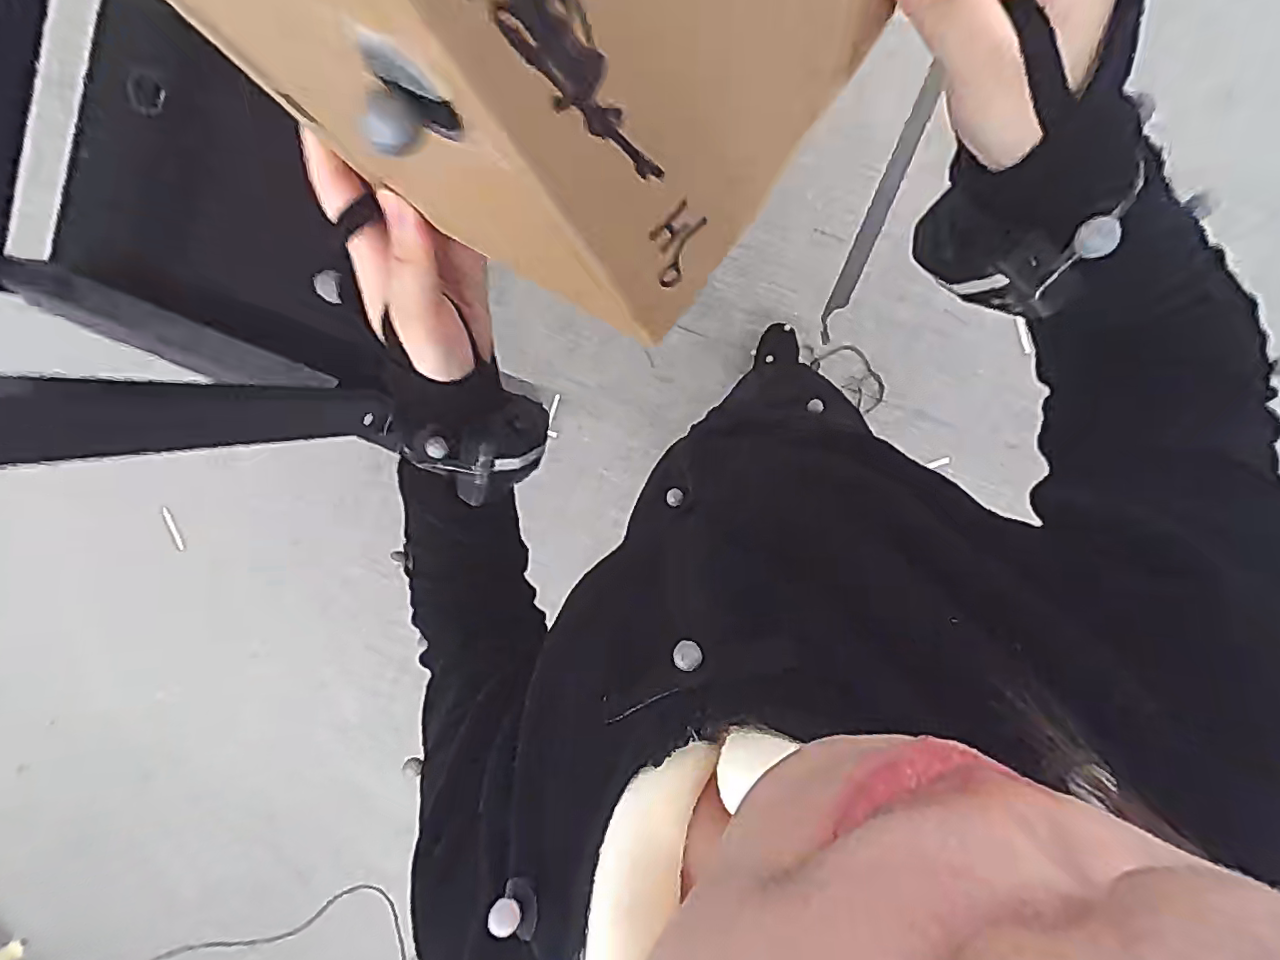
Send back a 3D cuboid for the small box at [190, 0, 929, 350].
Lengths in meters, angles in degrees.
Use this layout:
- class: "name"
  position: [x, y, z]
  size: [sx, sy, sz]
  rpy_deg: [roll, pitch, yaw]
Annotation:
- class: "small box"
  position: [-0.026, -0.176, 0.151]
  size: [0.176, 0.168, 0.179]
  rpy_deg: [34, 89, 25]
